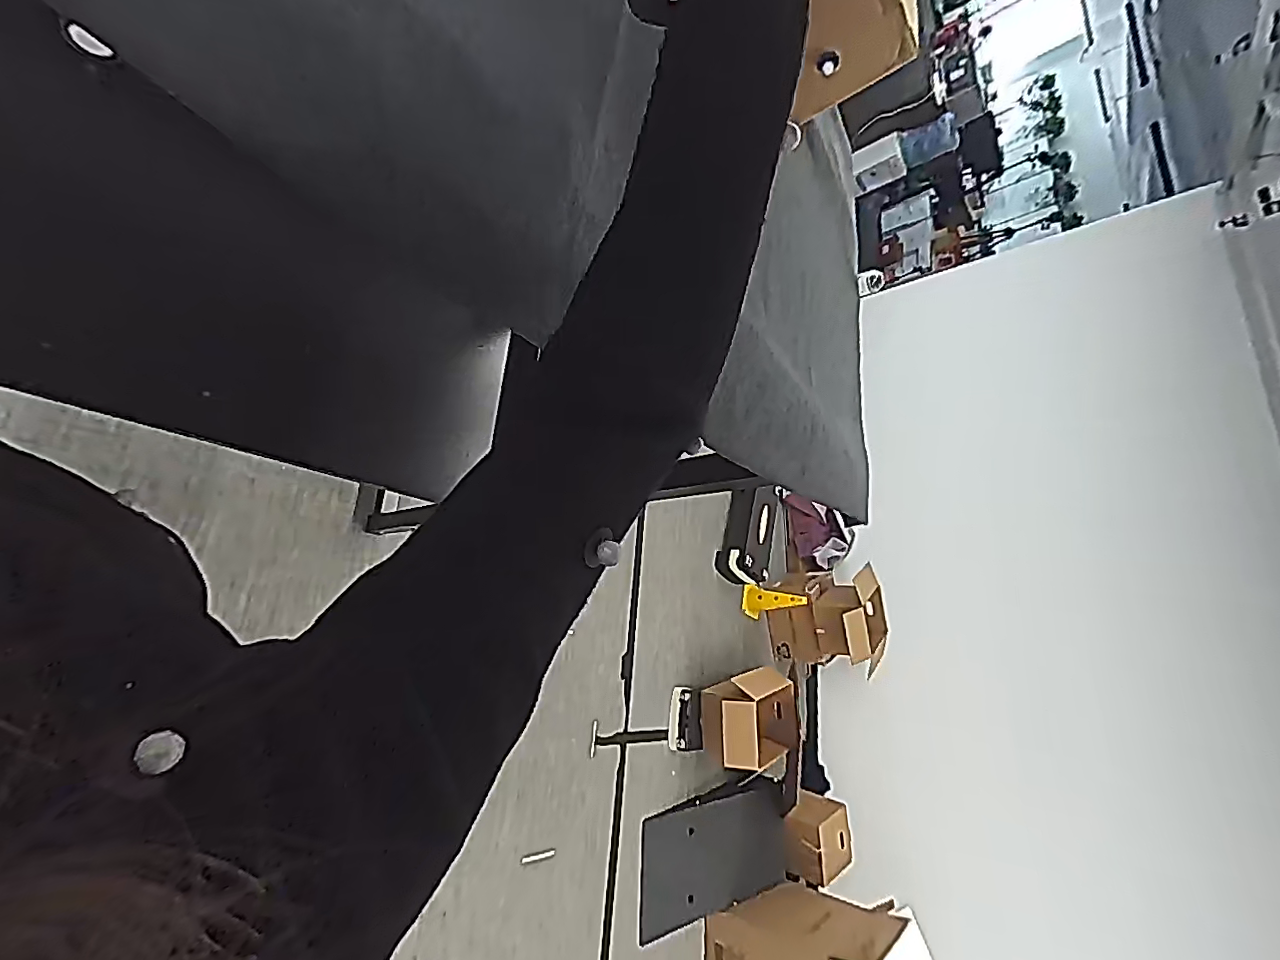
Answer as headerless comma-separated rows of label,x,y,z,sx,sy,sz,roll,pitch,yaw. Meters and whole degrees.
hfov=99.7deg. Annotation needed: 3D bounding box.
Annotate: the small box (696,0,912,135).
small box,0.175,-0.522,0.576,0.168,0.176,0.179,30,60,-45
